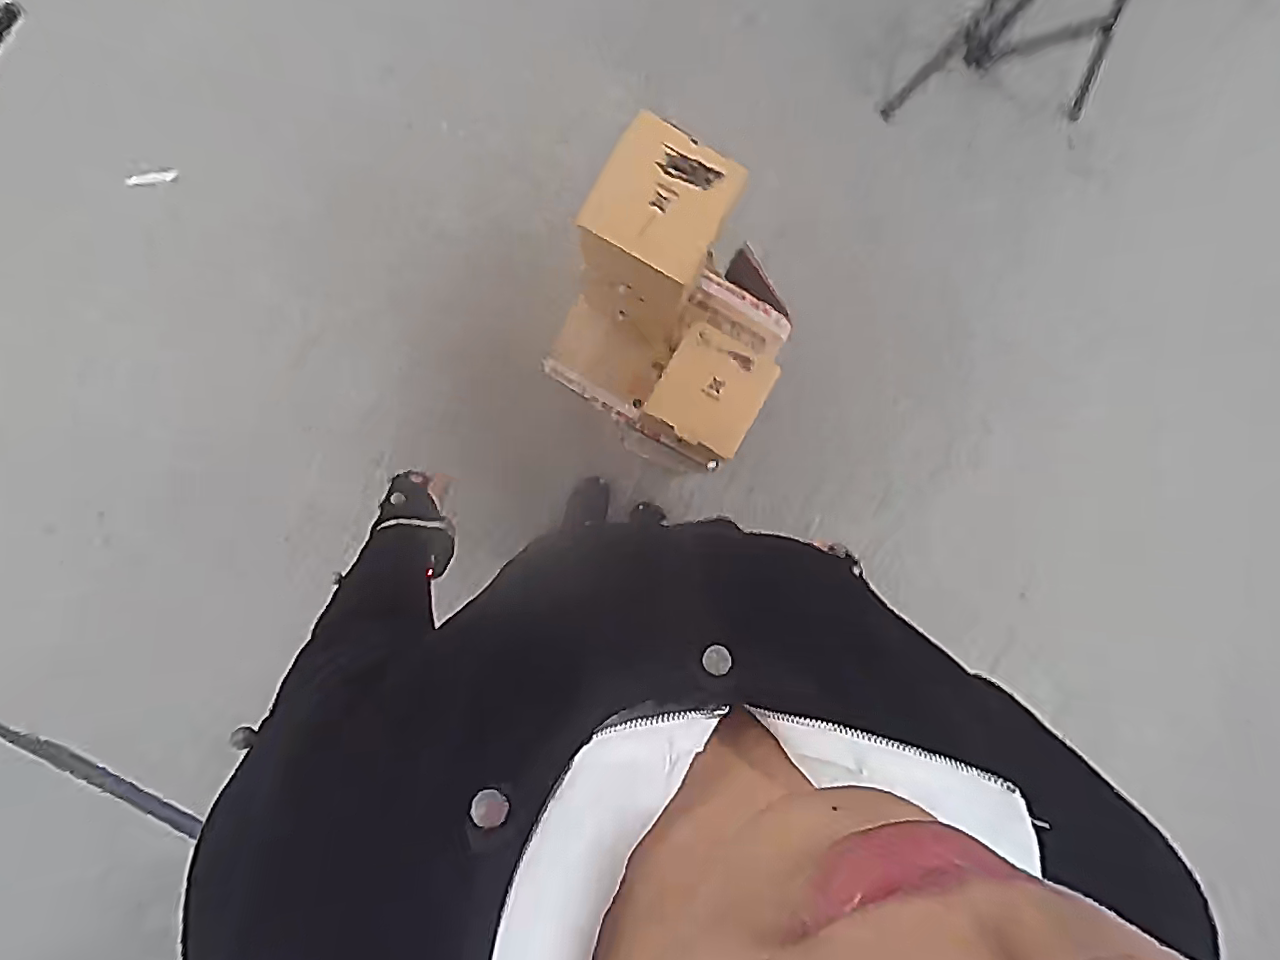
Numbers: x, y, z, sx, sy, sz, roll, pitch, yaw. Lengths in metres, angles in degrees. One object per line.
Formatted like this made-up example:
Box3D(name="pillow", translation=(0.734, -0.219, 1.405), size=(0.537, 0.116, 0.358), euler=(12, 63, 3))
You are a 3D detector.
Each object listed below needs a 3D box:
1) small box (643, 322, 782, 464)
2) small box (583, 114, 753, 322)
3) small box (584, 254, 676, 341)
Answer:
Box3D(name="small box", translation=(0.116, -0.141, 0.948), size=(0.168, 0.176, 0.179), euler=(31, 89, -4))
Box3D(name="small box", translation=(0.034, -0.361, 0.779), size=(0.168, 0.176, 0.179), euler=(30, 90, -1))
Box3D(name="small box", translation=(0.017, -0.371, 0.943), size=(0.168, 0.176, 0.179), euler=(28, 89, -1))
